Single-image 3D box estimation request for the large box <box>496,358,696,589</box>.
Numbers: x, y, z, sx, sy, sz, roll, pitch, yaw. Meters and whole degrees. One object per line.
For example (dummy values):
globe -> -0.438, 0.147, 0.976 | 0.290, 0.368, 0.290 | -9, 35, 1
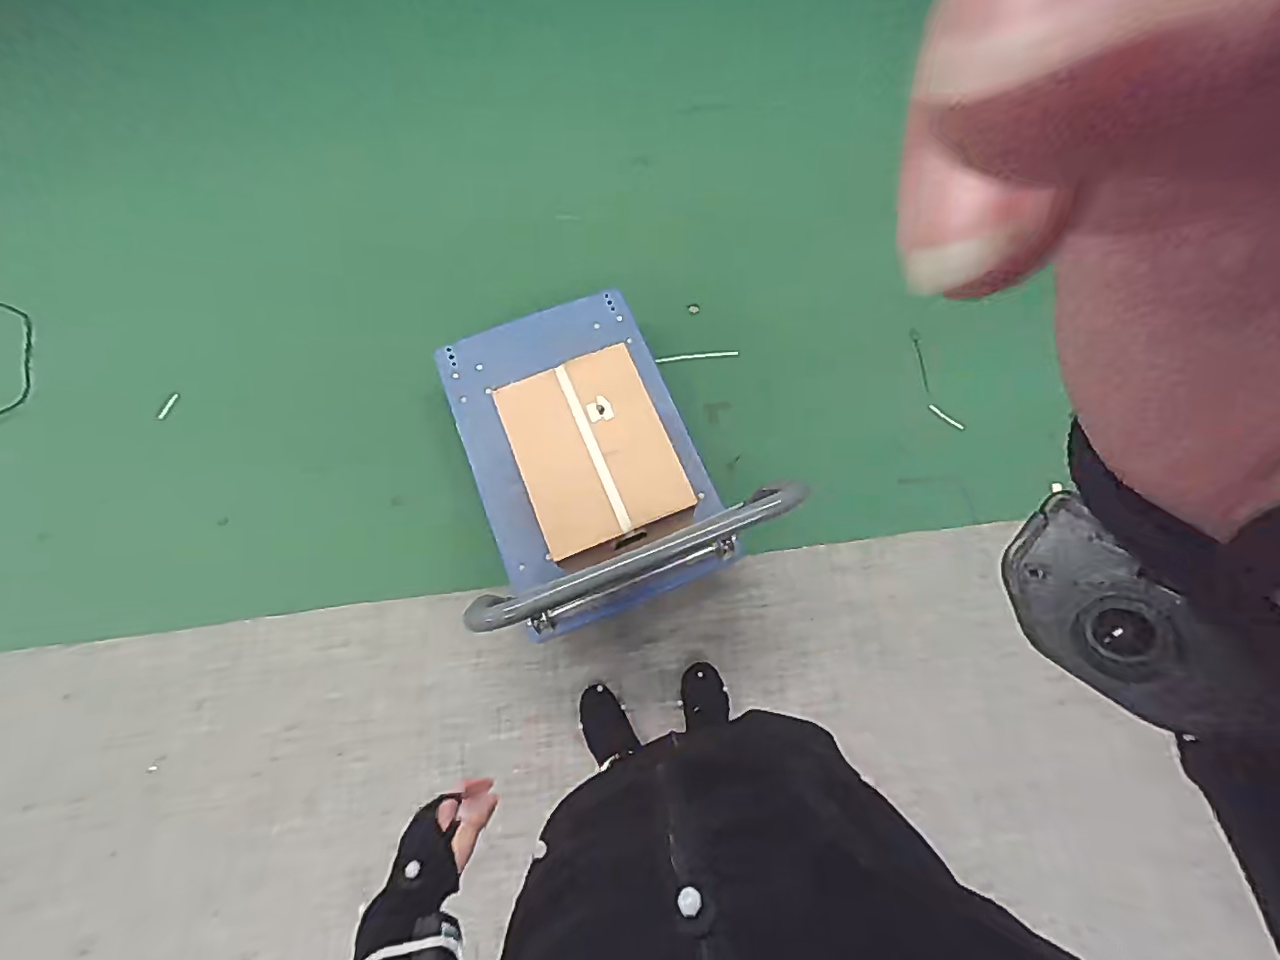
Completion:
large box -> -0.095, 0.000, 1.283 | 0.320, 0.320, 0.408 | -22, 72, -6
